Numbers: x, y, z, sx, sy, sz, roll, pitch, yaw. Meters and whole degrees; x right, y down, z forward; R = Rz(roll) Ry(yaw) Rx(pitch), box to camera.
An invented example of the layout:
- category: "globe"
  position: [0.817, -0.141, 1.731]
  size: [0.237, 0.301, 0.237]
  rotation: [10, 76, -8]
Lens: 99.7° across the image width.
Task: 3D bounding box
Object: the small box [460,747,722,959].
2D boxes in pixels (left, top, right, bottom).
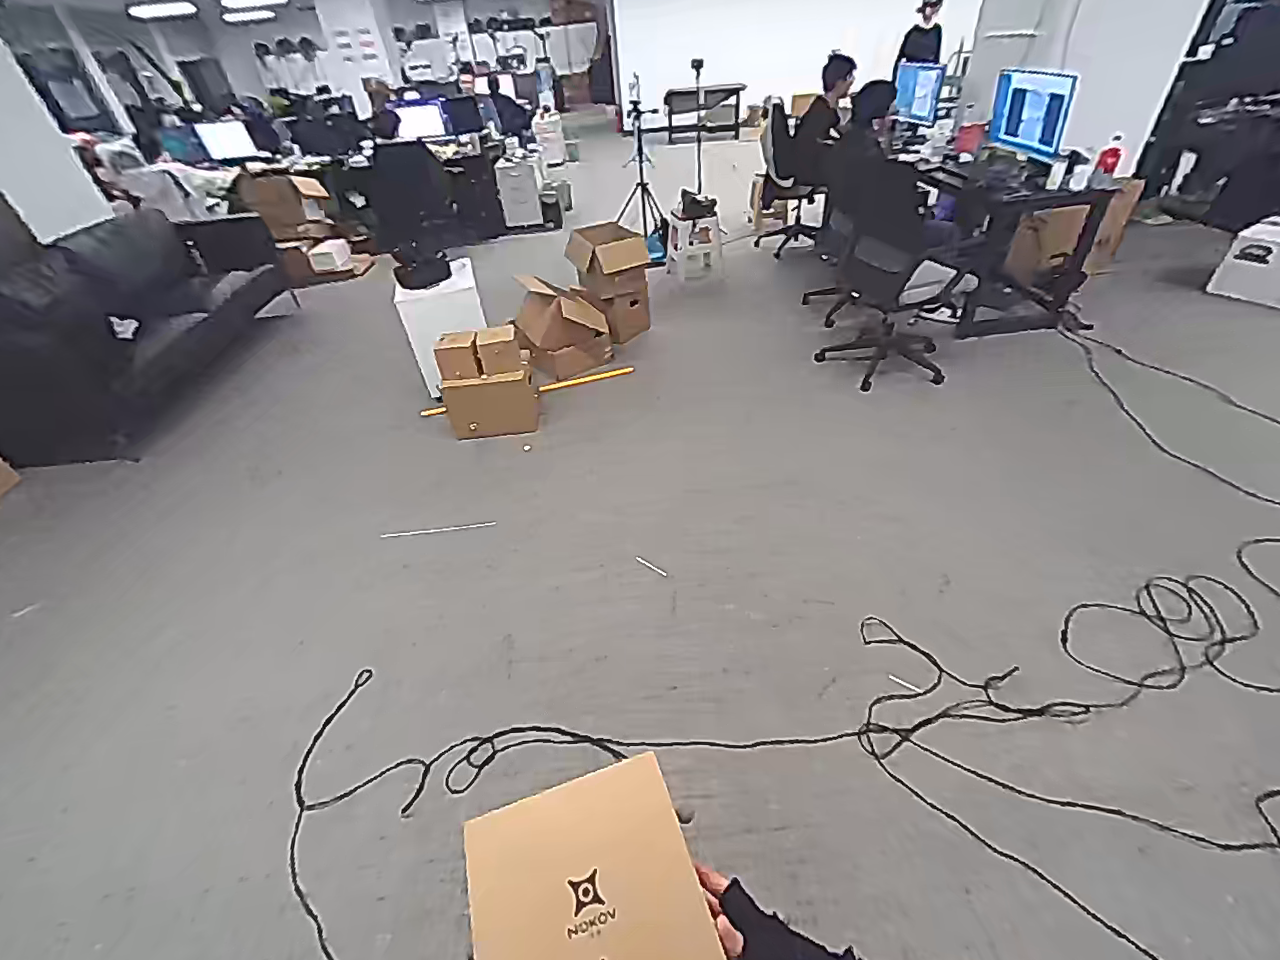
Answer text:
- category: "small box"
  position: [-0.036, 0.361, 0.441]
  size: [0.168, 0.176, 0.179]
  rotation: [-16, 44, -11]
